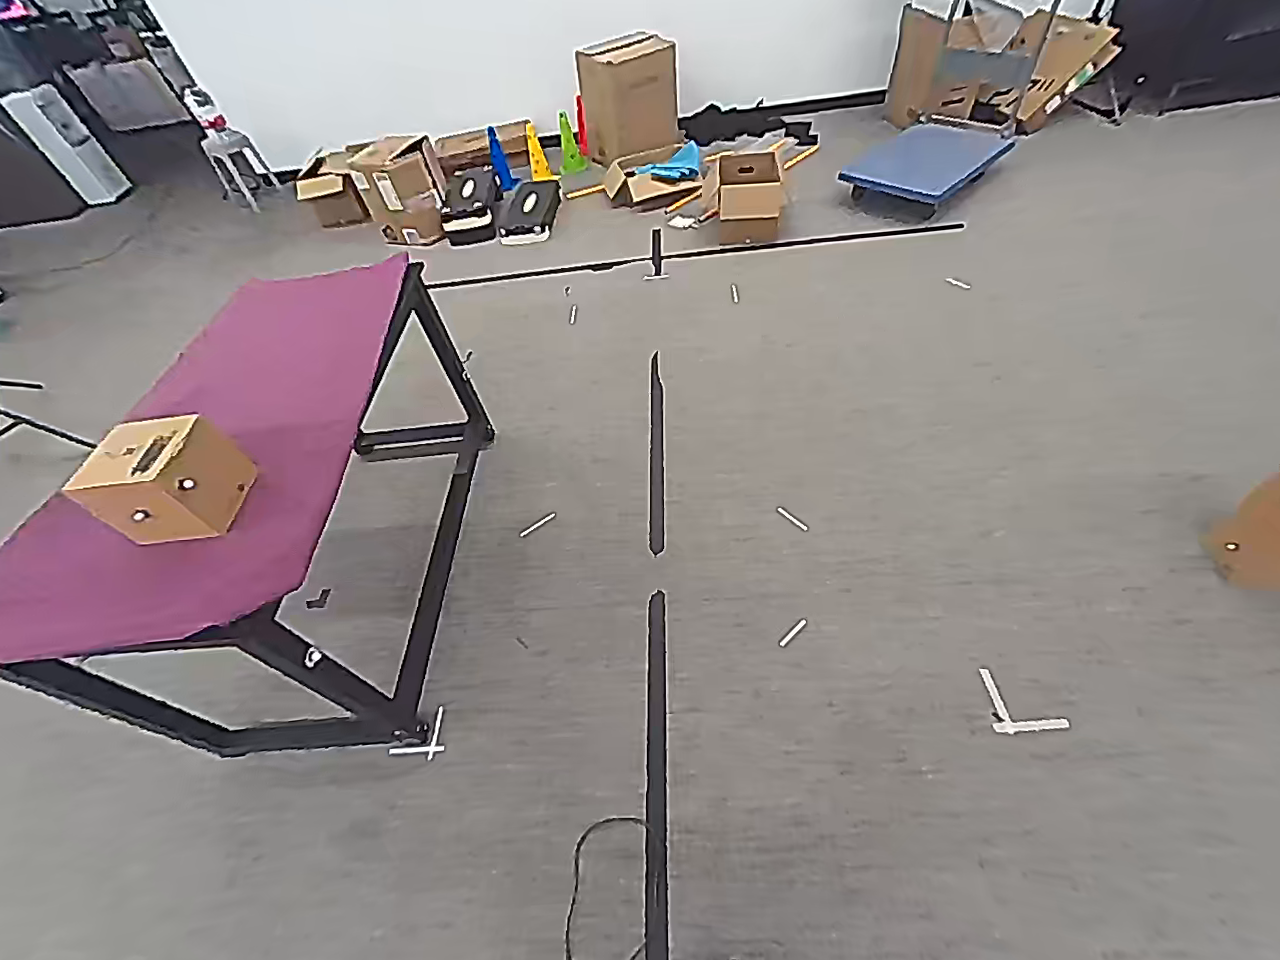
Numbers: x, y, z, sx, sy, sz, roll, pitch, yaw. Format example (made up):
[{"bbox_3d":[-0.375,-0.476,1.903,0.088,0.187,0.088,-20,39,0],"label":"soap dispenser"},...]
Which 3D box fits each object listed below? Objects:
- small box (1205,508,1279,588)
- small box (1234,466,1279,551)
[{"bbox_3d":[1.685,0.178,1.443,0.179,0.176,0.168,-2,50,7],"label":"small box"},{"bbox_3d":[1.656,0.070,1.324,0.168,0.176,0.179,-9,48,2],"label":"small box"}]
